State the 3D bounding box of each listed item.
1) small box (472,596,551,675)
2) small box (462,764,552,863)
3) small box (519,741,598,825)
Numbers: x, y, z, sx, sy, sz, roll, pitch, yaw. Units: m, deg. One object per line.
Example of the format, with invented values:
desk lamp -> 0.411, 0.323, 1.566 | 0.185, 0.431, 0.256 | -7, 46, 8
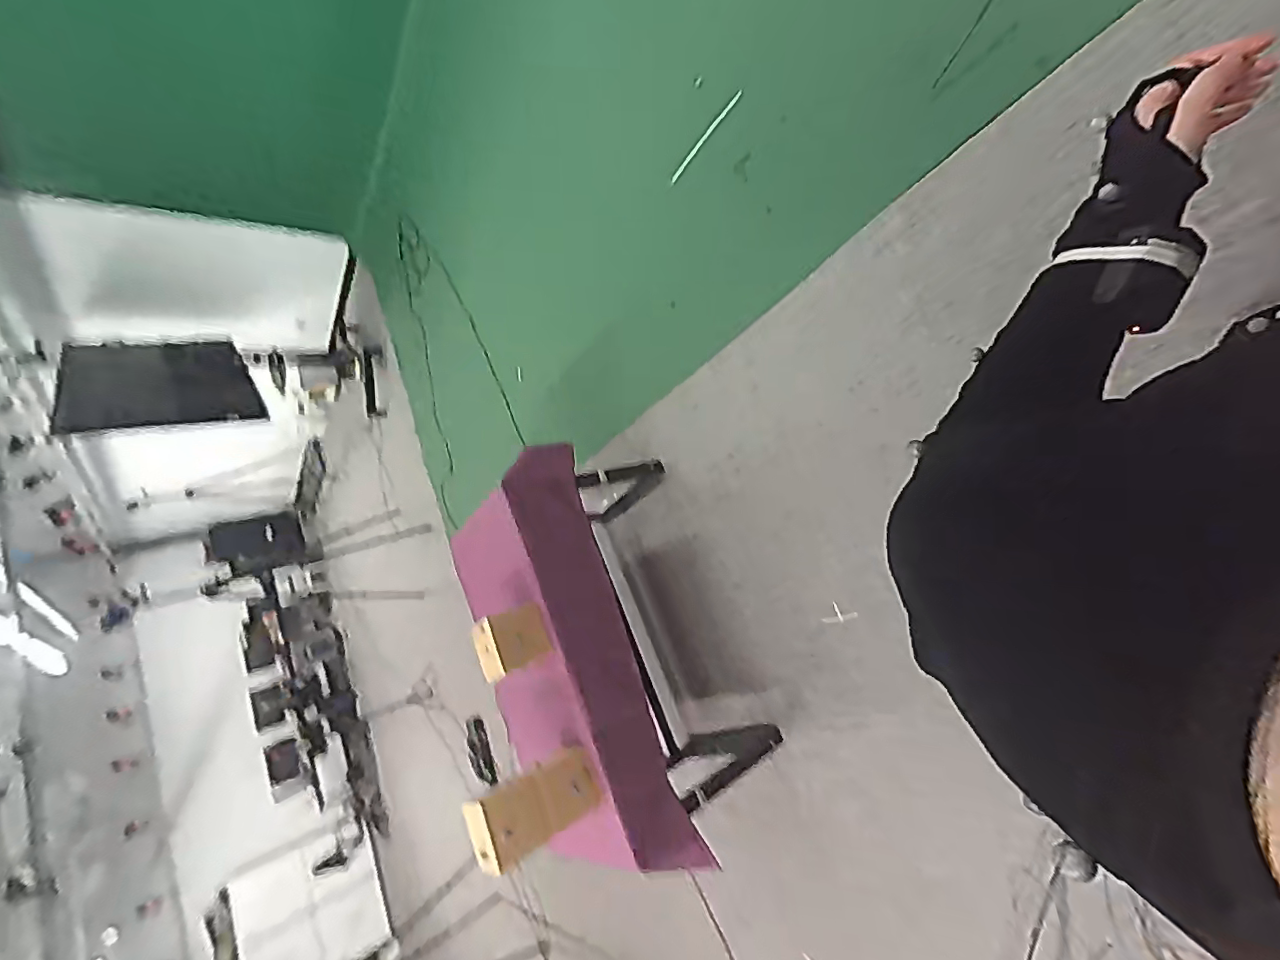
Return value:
small box -> -0.403, 0.487, 1.706 | 0.168, 0.176, 0.179 | -39, 69, 46
small box -> -0.367, 0.916, 1.499 | 0.168, 0.176, 0.179 | -38, 68, 47
small box -> -0.243, 0.893, 1.605 | 0.179, 0.176, 0.168 | -38, 68, 47
